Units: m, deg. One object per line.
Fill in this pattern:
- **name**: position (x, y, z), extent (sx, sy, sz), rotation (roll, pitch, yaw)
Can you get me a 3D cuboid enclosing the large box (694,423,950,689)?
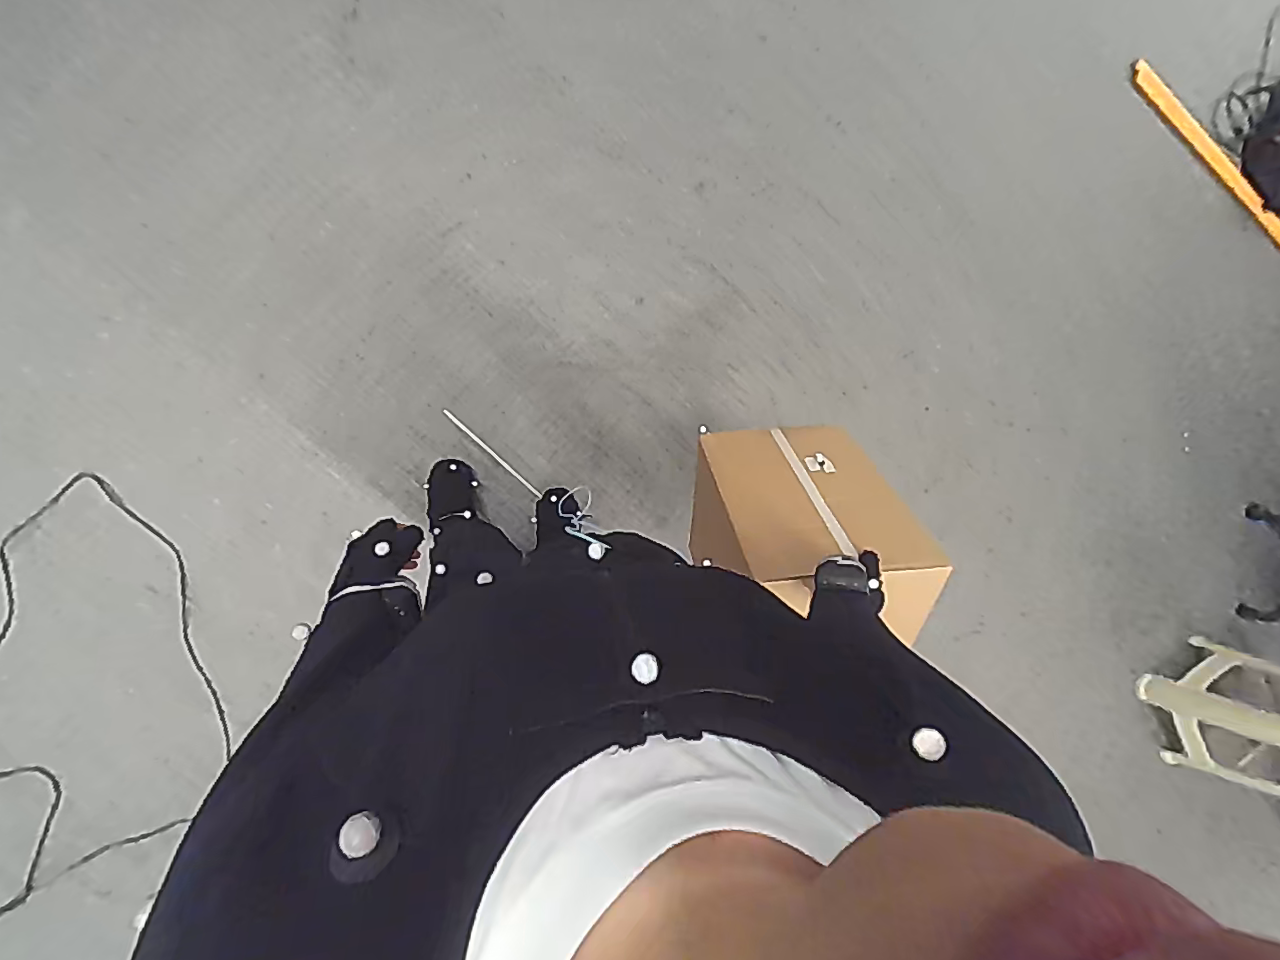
- **large box**: position (0.300, 0.130, 1.051), extent (0.320, 0.408, 0.320), rotation (-3, 127, -6)
